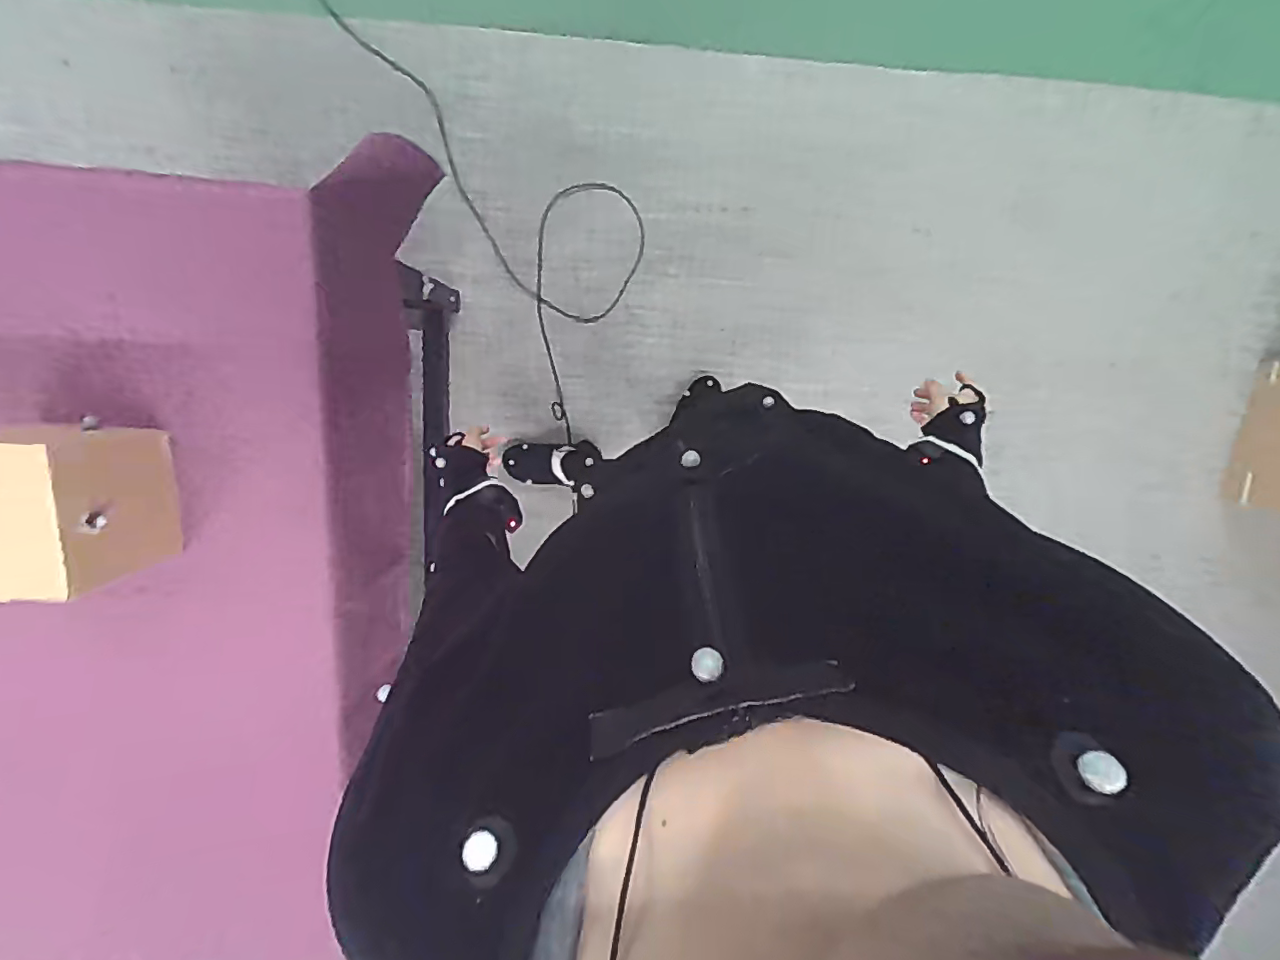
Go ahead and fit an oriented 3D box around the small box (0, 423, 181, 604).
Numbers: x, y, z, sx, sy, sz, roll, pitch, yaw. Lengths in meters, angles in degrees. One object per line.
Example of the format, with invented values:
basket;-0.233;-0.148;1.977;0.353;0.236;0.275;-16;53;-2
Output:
small box;-0.699;0.031;0.647;0.168;0.176;0.179;3;100;-4
